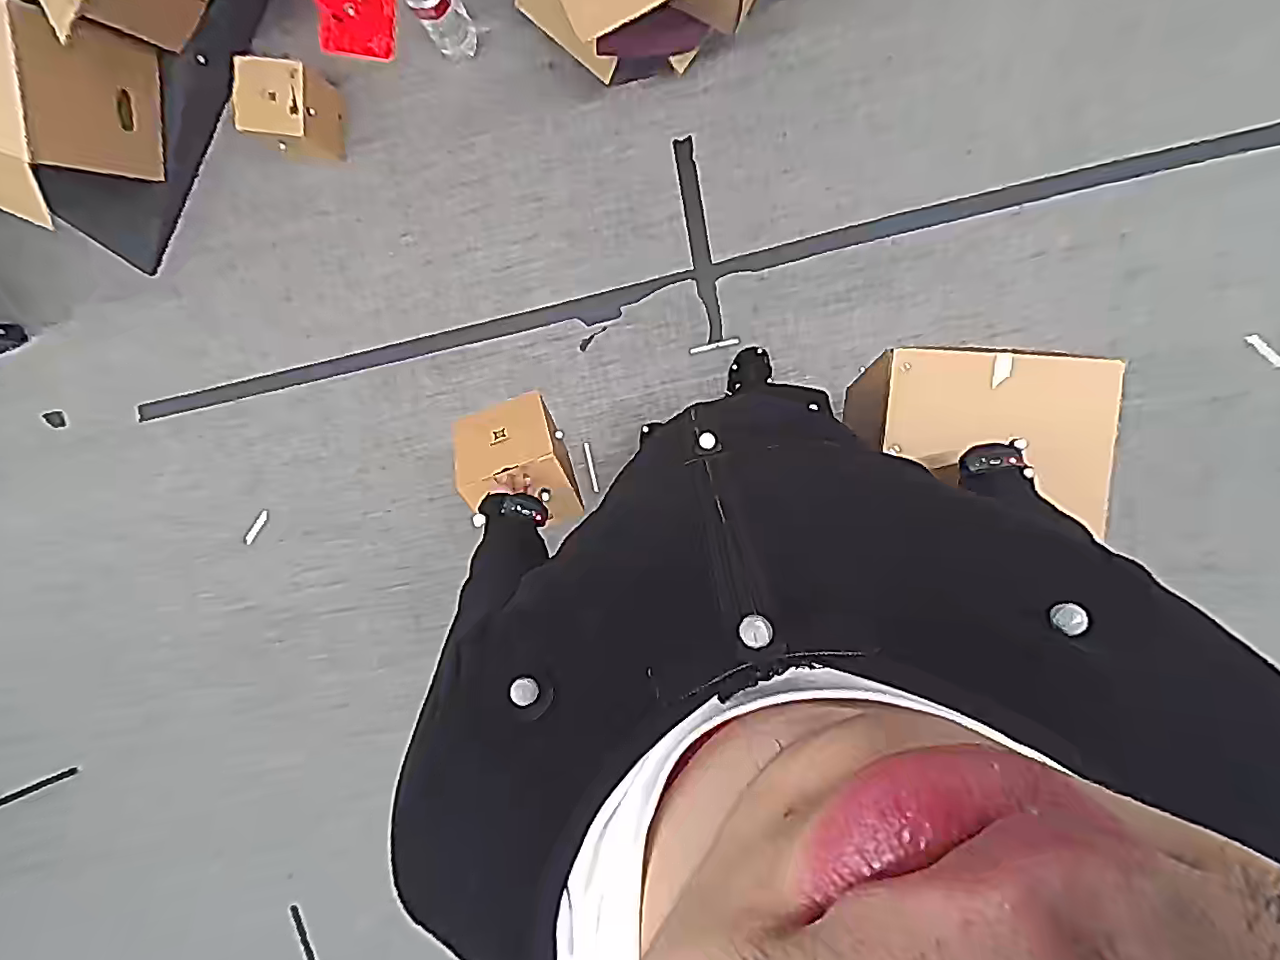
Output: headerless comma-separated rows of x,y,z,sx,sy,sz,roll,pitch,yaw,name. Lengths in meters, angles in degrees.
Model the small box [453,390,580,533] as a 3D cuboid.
-0.219,-0.025,0.977,0.168,0.179,0.176,-20,139,-2,small box
